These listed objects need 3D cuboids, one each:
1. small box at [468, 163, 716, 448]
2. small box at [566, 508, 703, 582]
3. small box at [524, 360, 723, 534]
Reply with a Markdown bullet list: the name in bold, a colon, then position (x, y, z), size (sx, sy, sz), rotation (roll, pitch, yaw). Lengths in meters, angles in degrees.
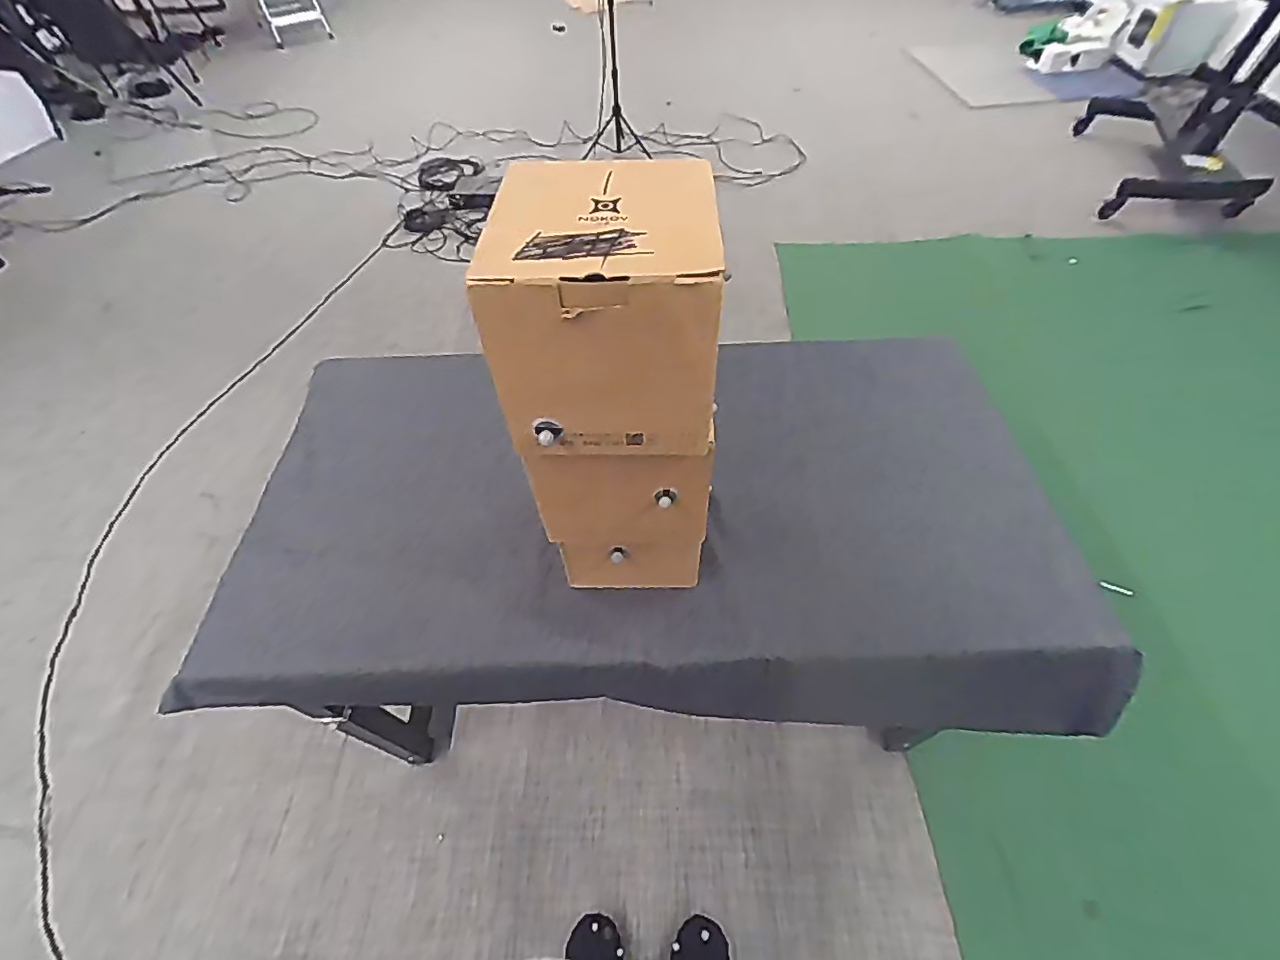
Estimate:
- **small box**: position (-0.025, -0.141, 0.458), size (0.168, 0.176, 0.179), rotation (1, 52, 2)
- **small box**: position (-0.011, 0.029, 0.741), size (0.179, 0.176, 0.168), rotation (-3, 52, -1)
- **small box**: position (-0.017, -0.055, 0.578), size (0.179, 0.176, 0.168), rotation (-3, 53, -1)
